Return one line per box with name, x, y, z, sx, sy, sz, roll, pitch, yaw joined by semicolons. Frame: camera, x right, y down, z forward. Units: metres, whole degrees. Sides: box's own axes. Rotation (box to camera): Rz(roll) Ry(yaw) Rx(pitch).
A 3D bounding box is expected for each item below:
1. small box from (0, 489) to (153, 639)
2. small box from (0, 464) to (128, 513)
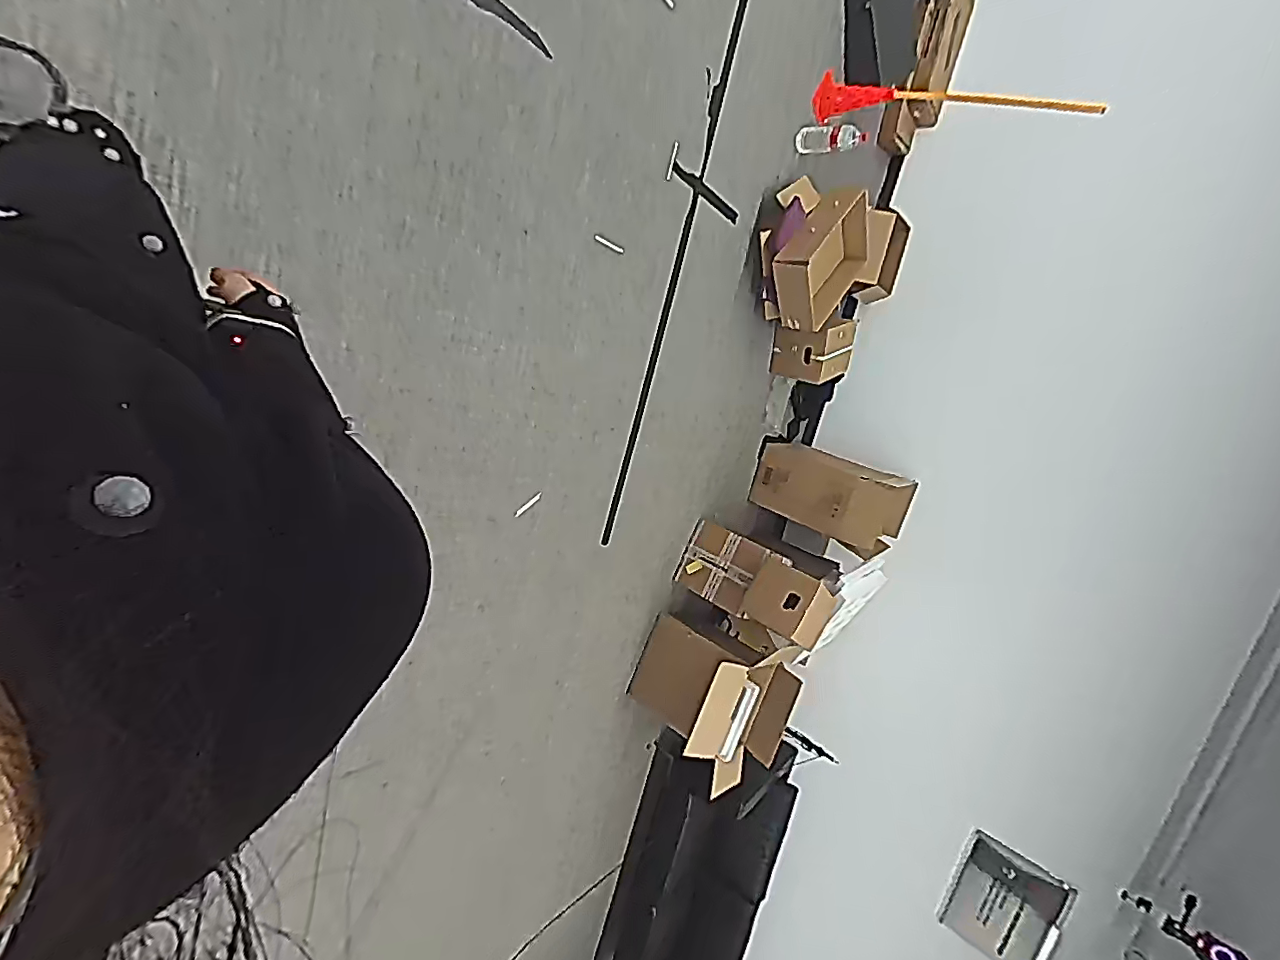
small box;-0.984;0.135;0.935;0.168;0.176;0.179;-19;123;-48
small box;-1.103;0.077;1.034;0.168;0.176;0.179;-19;122;-47
